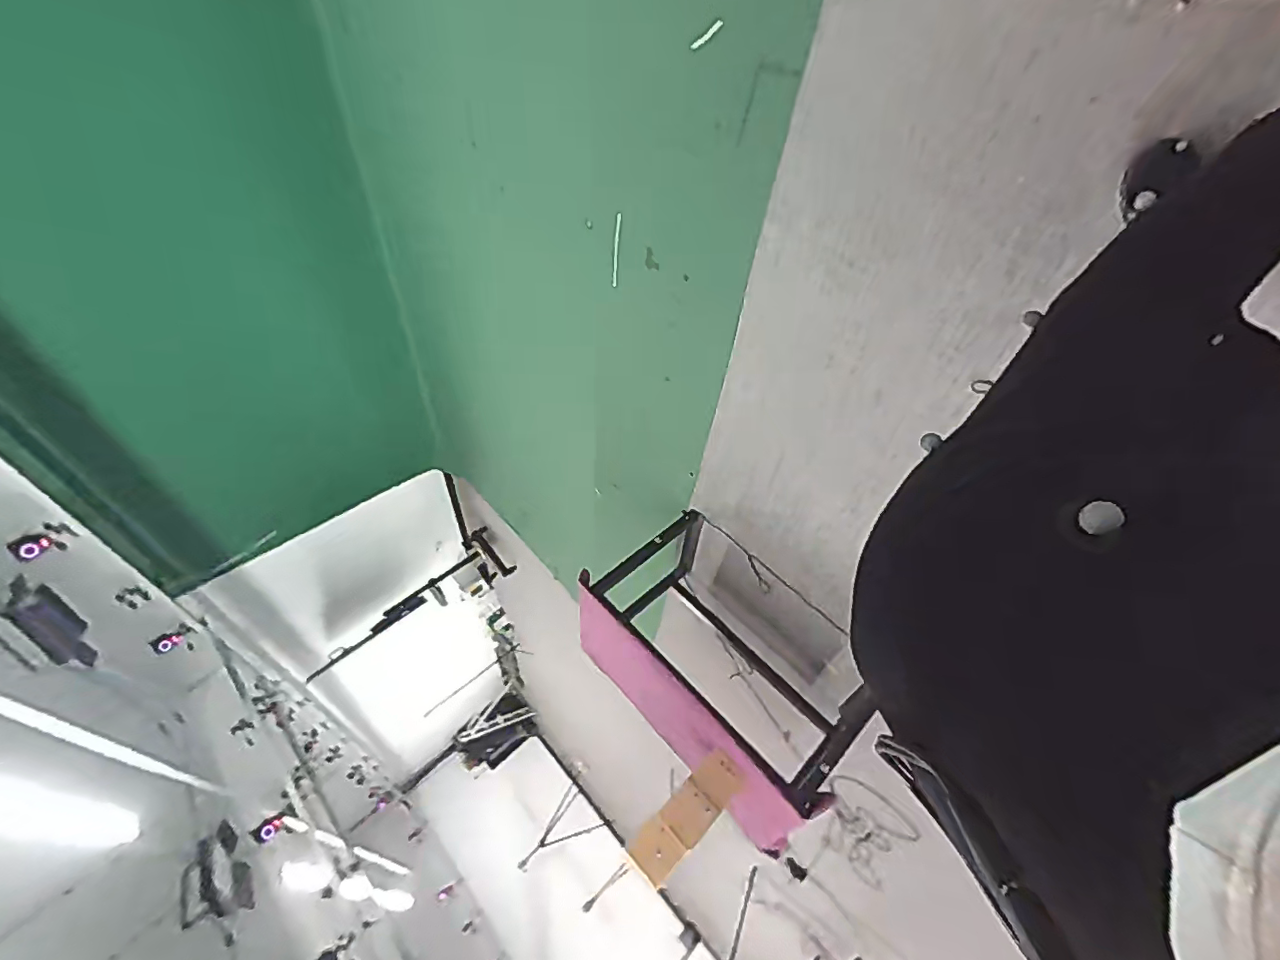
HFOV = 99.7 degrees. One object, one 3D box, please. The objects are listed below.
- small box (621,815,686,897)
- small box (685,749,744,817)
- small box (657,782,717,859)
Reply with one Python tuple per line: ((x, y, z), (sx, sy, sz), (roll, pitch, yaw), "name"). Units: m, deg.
((0.049, 1.337, 1.930), (0.168, 0.176, 0.179), (37, 146, 27), "small box")
((0.283, 1.187, 2.099), (0.168, 0.176, 0.179), (39, 146, 26), "small box")
((0.168, 1.261, 2.009), (0.168, 0.176, 0.179), (39, 147, 25), "small box")
